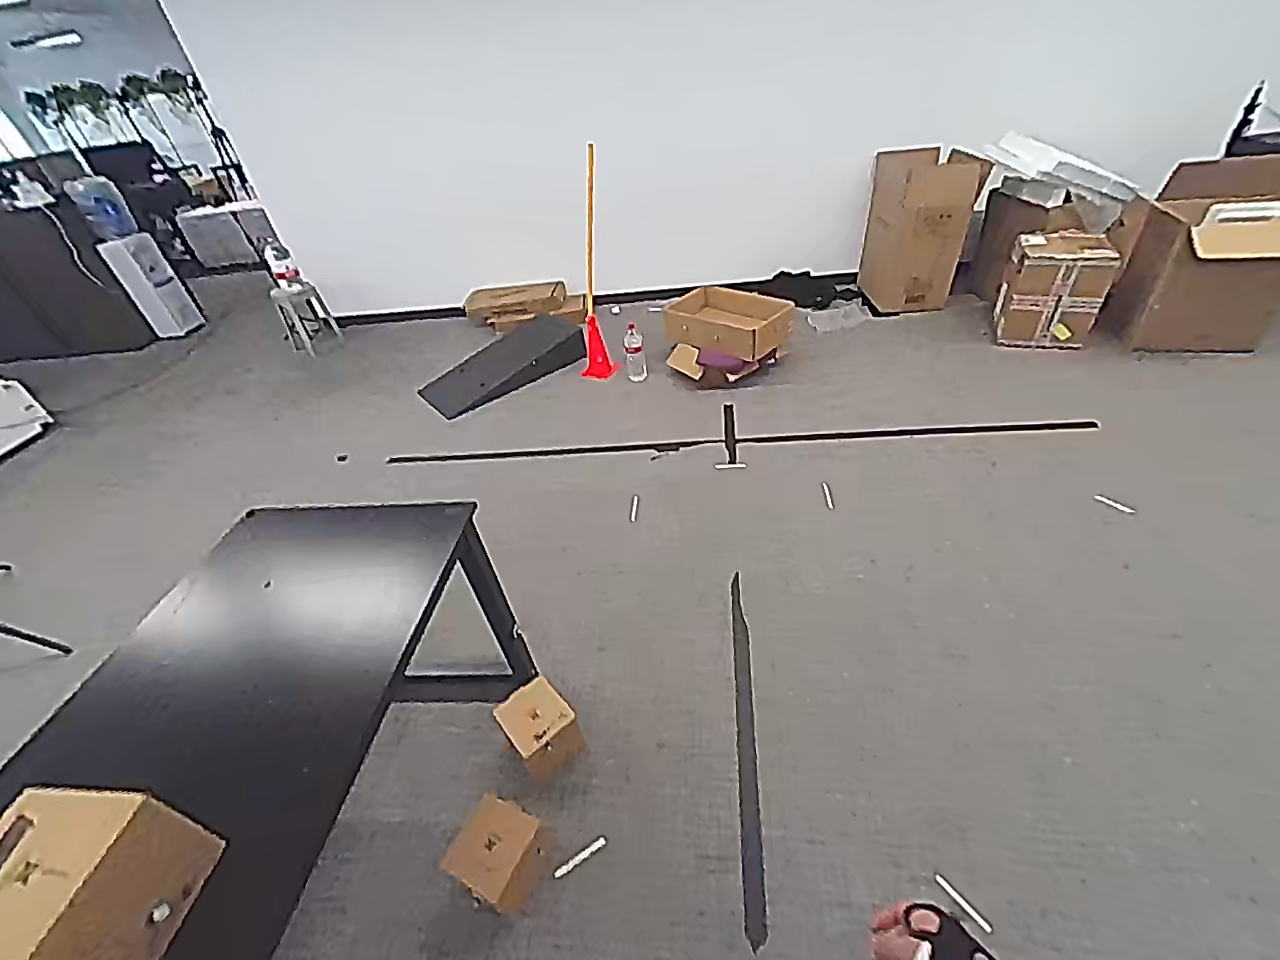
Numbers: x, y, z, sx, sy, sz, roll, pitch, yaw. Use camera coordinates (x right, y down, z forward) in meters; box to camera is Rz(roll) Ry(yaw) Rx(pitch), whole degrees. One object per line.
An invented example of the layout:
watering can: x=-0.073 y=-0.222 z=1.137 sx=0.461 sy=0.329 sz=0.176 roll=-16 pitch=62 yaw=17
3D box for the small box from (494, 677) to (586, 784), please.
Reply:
small box: x=-0.274 y=0.697 z=1.501 sx=0.168 sy=0.176 sz=0.179 roll=-33 pitch=45 yaw=-27

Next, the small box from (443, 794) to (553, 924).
small box: x=-0.322 y=0.891 z=1.273 sx=0.168 sy=0.176 sz=0.179 roll=12 pitch=44 yaw=24

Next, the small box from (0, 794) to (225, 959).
small box: x=-0.668 y=0.501 z=0.647 sx=0.179 sy=0.176 sz=0.168 roll=-2 pitch=39 yaw=8
